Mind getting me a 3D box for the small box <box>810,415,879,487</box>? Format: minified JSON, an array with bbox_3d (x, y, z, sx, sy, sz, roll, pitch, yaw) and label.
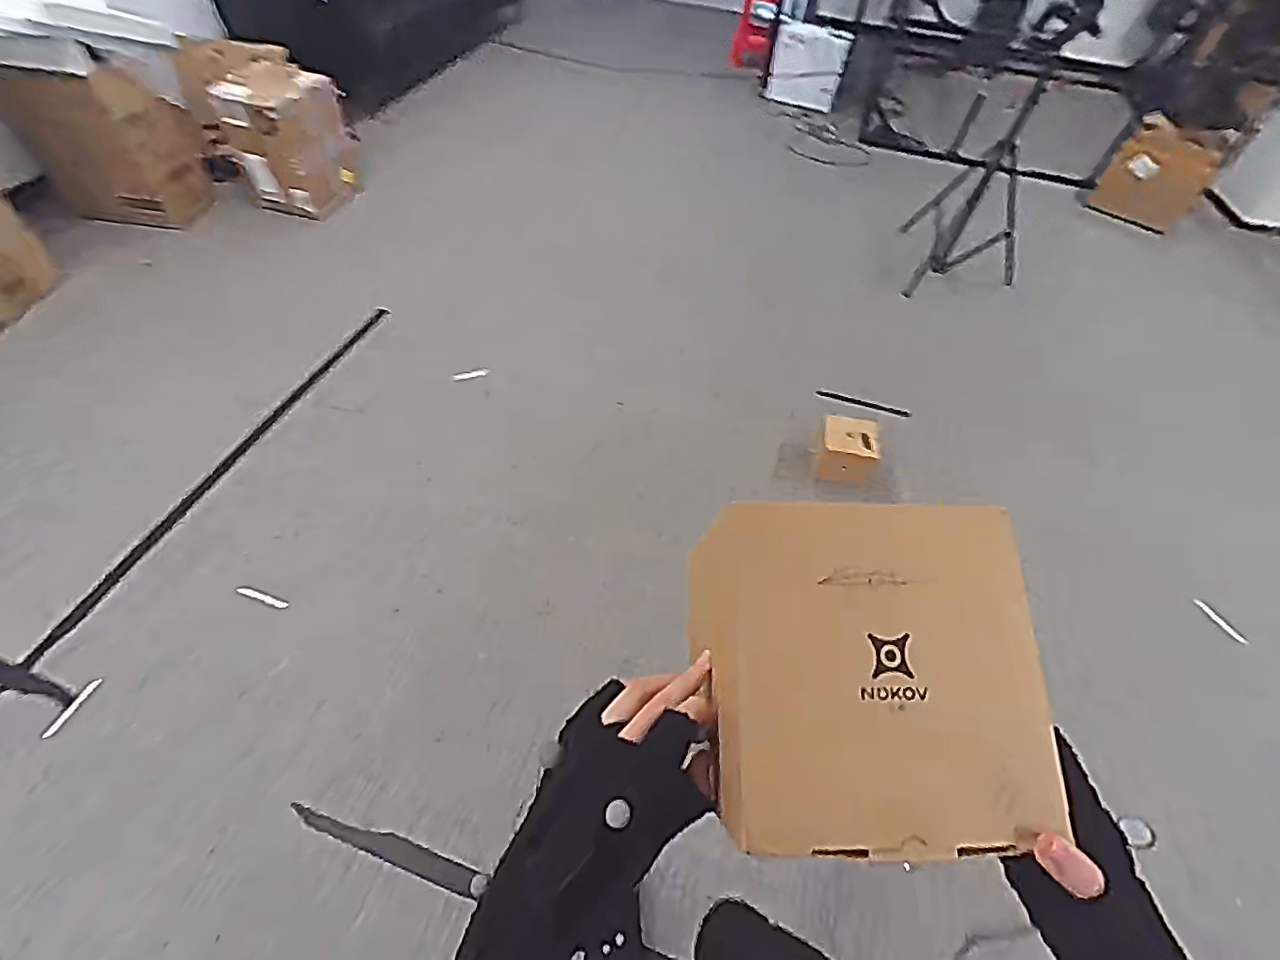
[{"bbox_3d":[0.698,-0.096,1.859,0.179,0.176,0.168,11,54,5],"label":"small box"}]
